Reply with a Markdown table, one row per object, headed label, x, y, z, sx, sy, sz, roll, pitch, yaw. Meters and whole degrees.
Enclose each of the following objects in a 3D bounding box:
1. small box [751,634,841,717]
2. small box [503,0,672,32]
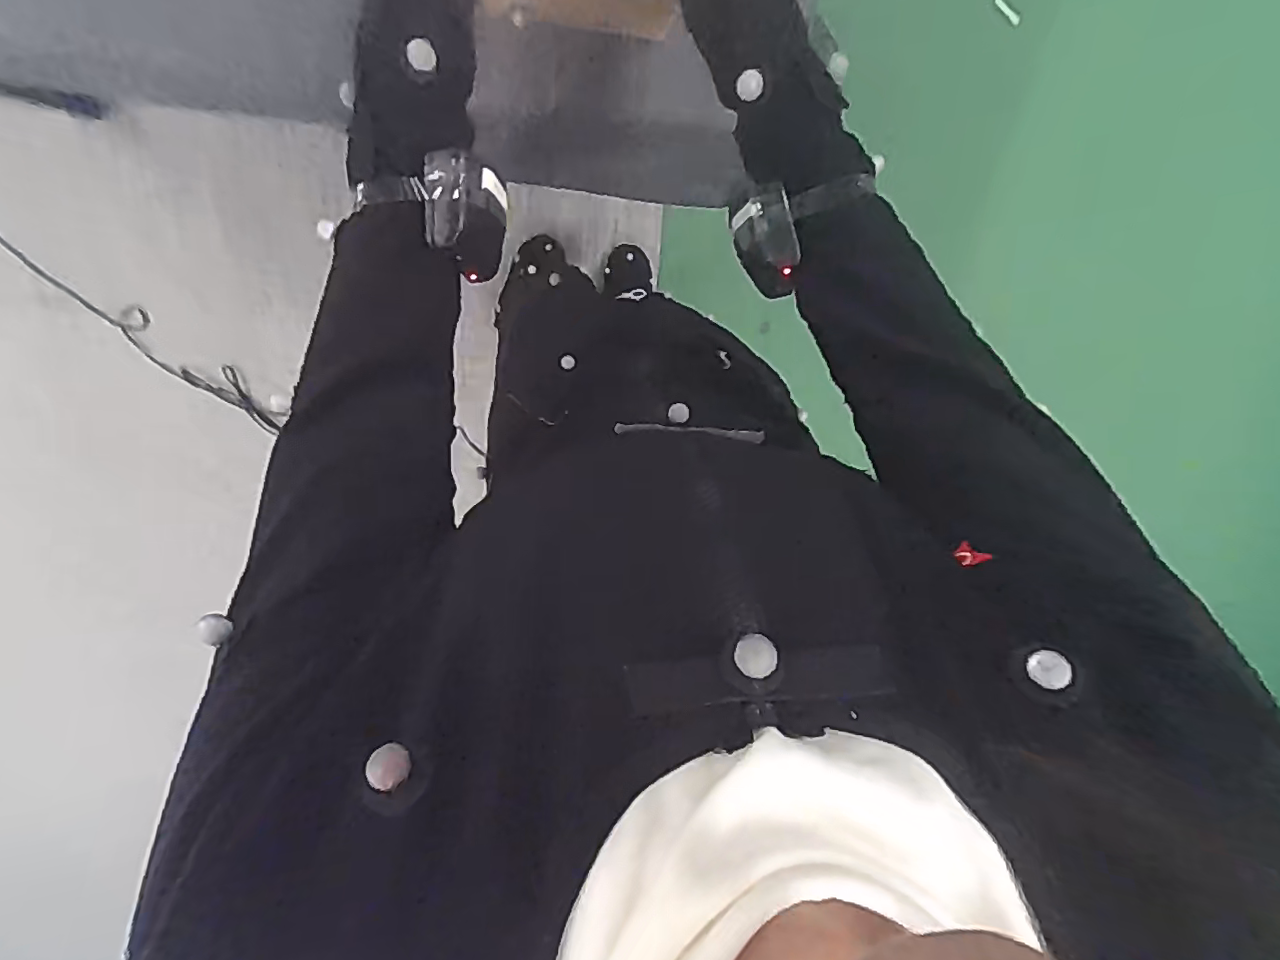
| label | x | y | z | sx | sy | sz | roll | pitch | yaw |
| --- | --- | --- | --- | --- | --- | --- | --- | --- | --- |
| small box | 0.434 | 0.544 | 1.530 | 0.179 | 0.176 | 0.168 | 3 | 113 | -9 |
| small box | -0.043 | -0.466 | 0.391 | 0.168 | 0.176 | 0.179 | 3 | 112 | -7 |
